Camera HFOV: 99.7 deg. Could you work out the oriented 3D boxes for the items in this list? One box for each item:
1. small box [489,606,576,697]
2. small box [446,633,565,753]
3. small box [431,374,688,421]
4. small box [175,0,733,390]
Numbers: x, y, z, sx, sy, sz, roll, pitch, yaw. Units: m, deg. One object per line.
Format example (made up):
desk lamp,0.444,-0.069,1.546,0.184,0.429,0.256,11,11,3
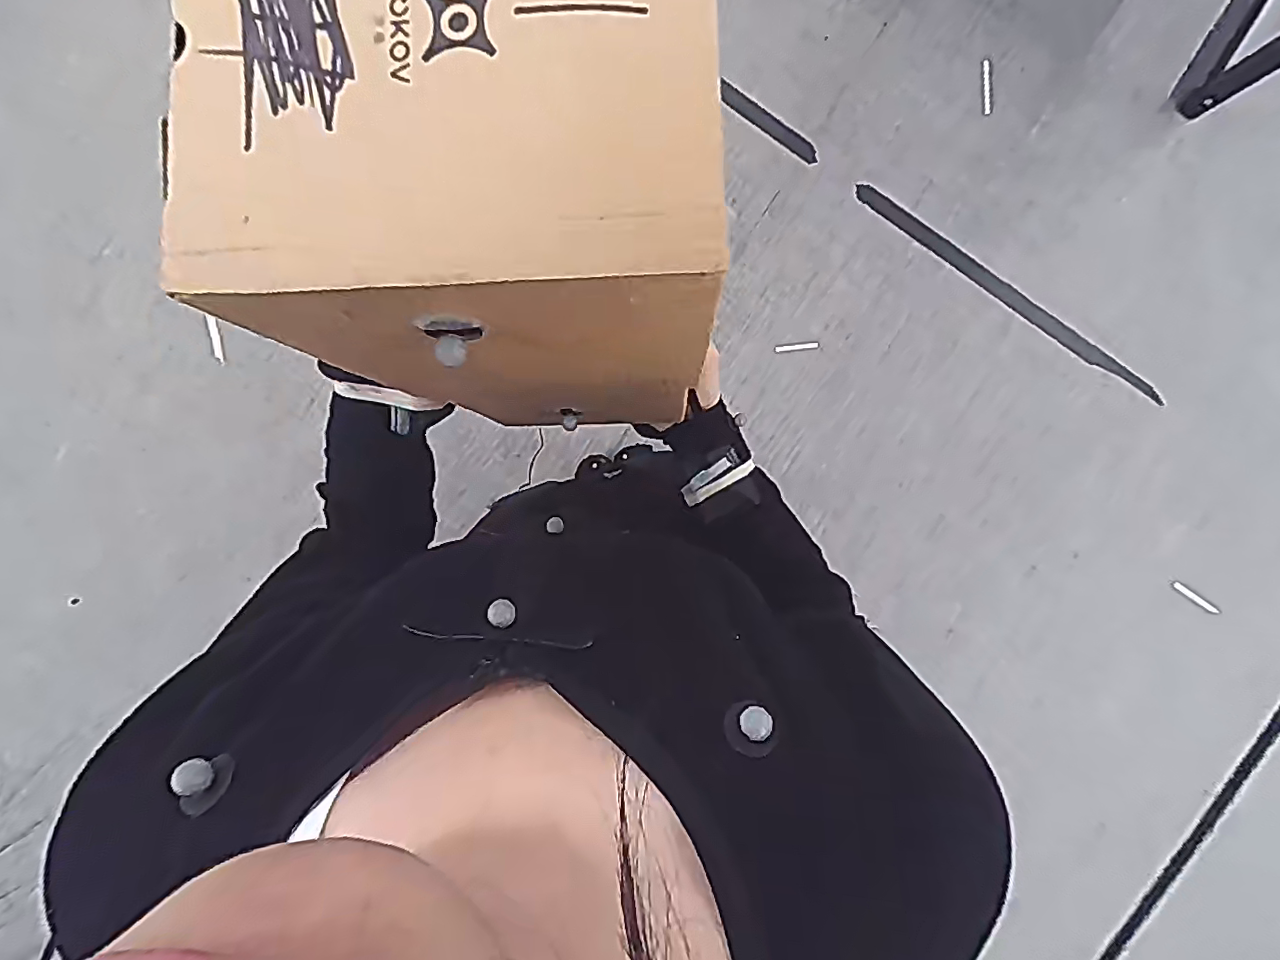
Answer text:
small box,-0.228,0.354,0.968,0.168,0.176,0.179,38,91,-2
small box,-0.226,0.359,0.805,0.168,0.176,0.179,36,93,-3
small box,-0.046,-0.139,0.411,0.168,0.176,0.179,-1,87,3
small box,-0.054,-0.138,0.247,0.179,0.176,0.168,-1,88,3
